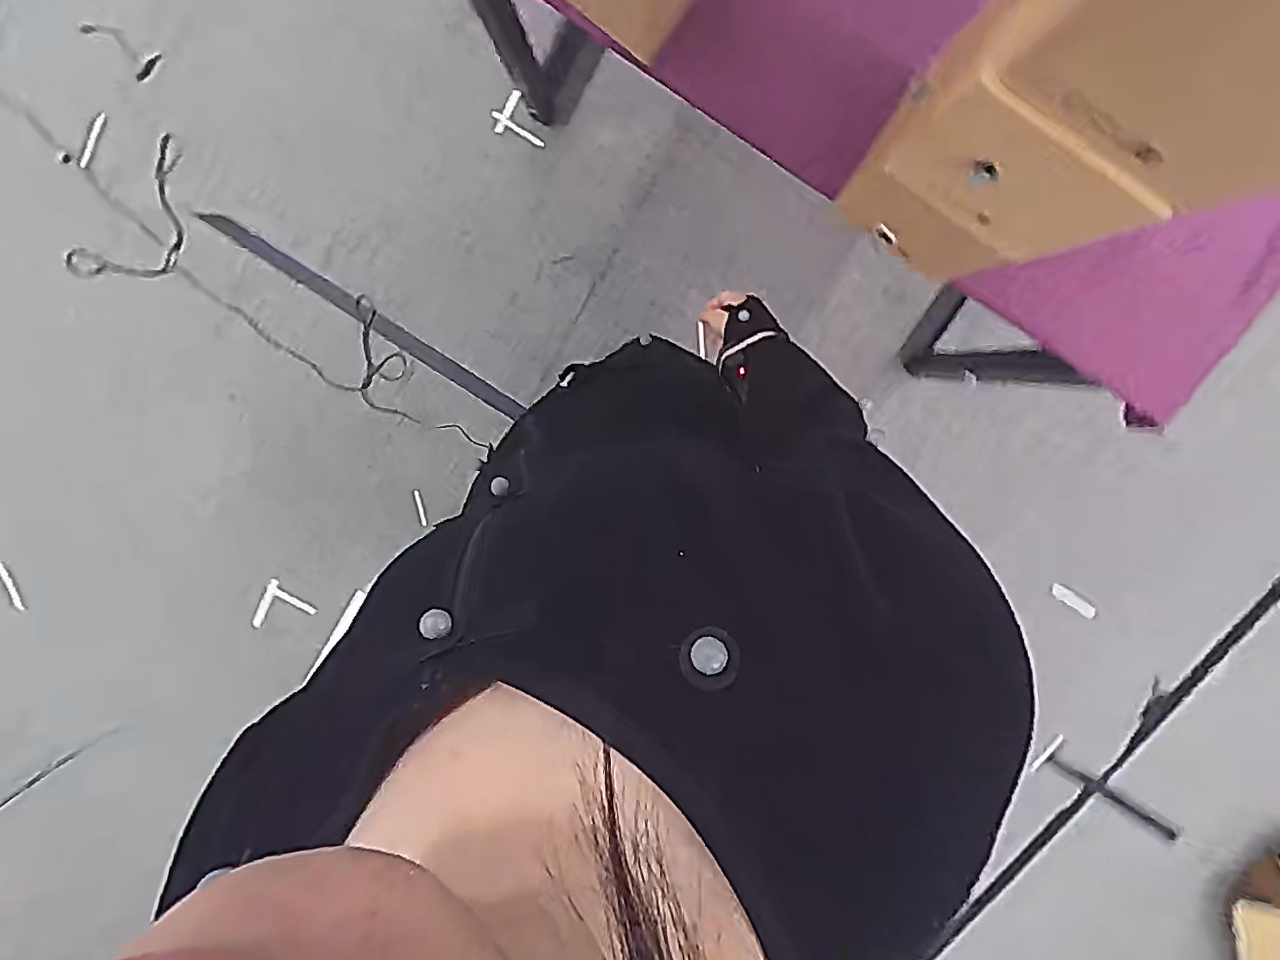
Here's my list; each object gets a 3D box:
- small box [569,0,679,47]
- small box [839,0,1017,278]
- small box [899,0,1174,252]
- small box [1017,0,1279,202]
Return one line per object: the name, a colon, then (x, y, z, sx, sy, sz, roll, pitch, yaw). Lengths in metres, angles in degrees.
small box: (-0.017, -0.588, 0.538, 0.179, 0.176, 0.168, 36, 101, -6)
small box: (0.344, -0.345, 0.581, 0.168, 0.176, 0.179, 32, 103, -4)
small box: (0.336, -0.308, 0.423, 0.168, 0.176, 0.179, 32, 101, -4)
small box: (0.342, -0.278, 0.261, 0.168, 0.176, 0.179, 32, 100, -4)
